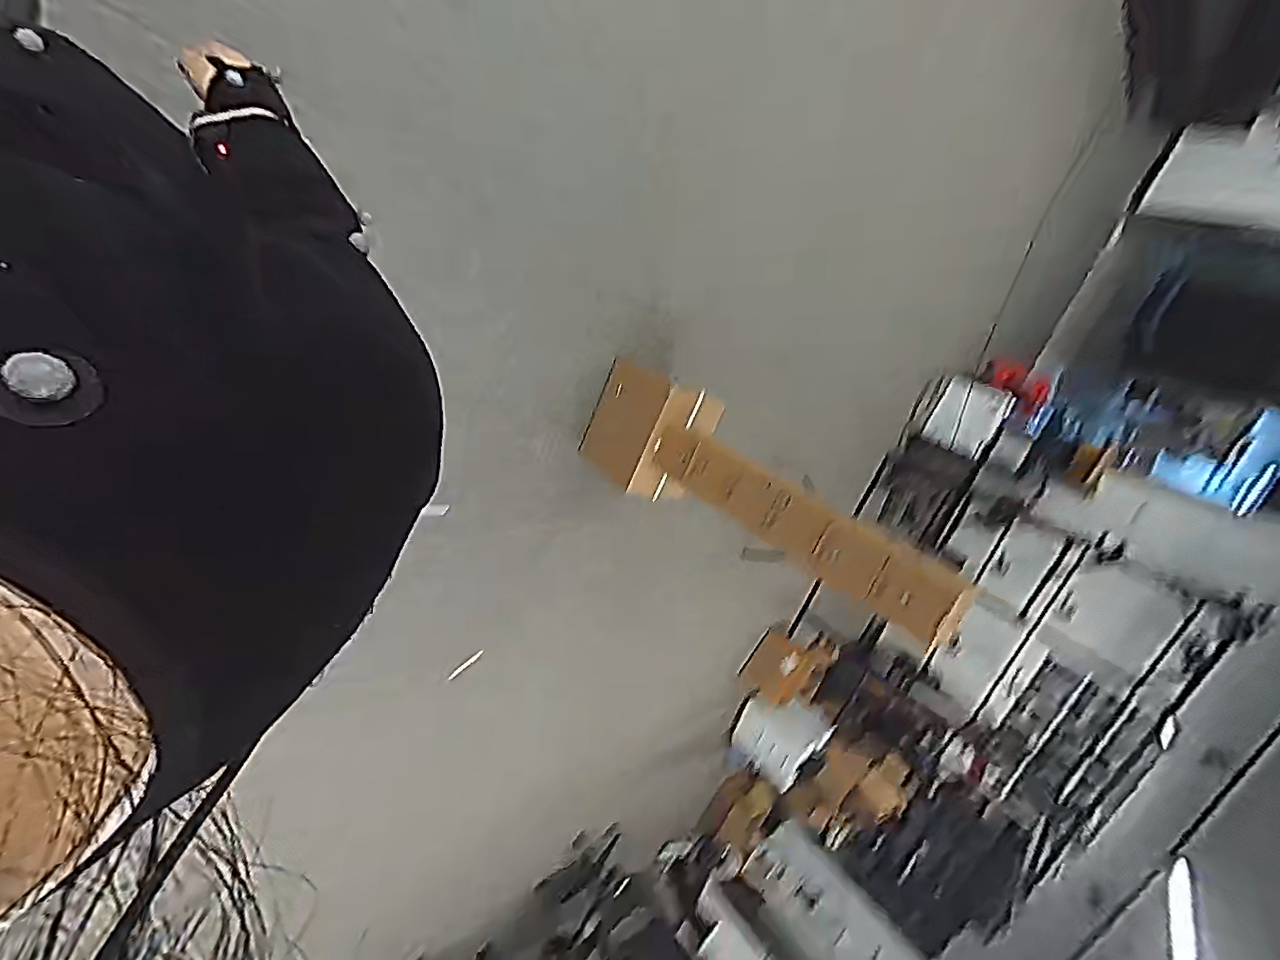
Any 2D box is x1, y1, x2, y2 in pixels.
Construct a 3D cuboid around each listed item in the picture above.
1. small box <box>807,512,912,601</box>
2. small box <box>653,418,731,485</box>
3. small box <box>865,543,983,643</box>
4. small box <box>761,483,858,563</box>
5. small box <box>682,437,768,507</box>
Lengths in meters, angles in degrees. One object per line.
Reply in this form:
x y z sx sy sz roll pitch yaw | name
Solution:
0.571 0.193 1.403 0.179 0.176 0.168 7 111 -45 | small box
0.172 -0.095 1.835 0.168 0.176 0.179 6 113 -45 | small box
0.676 0.263 1.299 0.179 0.176 0.168 5 113 -44 | small box
0.470 0.120 1.511 0.179 0.176 0.168 10 110 -47 | small box
0.269 -0.027 1.725 0.179 0.176 0.168 7 111 -45 | small box
